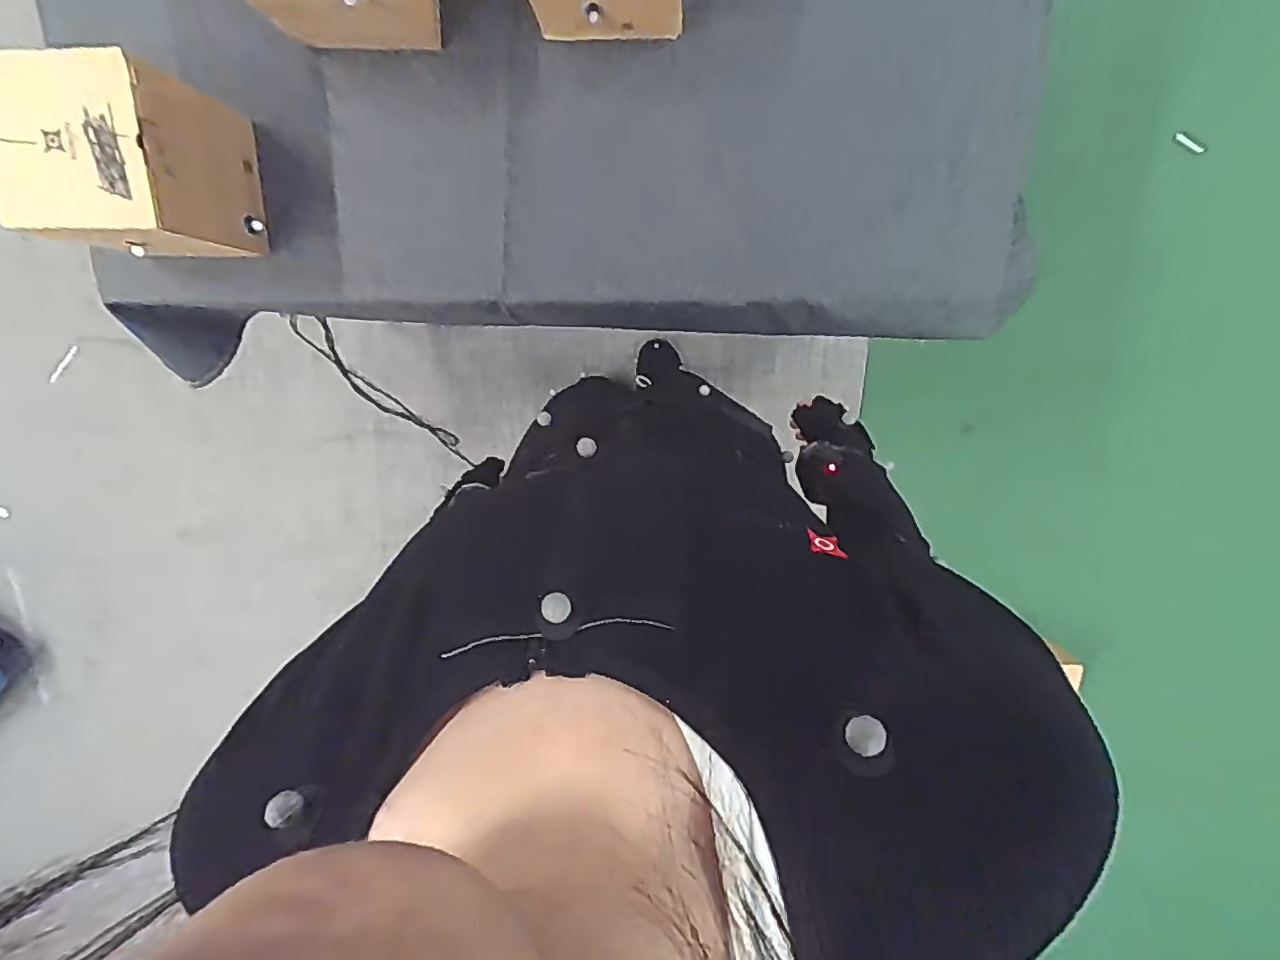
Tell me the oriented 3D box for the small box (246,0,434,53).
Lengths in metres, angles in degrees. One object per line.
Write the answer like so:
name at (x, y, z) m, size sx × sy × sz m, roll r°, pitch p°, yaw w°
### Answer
small box at (-0.327, -0.582, 0.563) m, size 0.179 × 0.176 × 0.168 m, roll 3°, pitch 104°, yaw 1°

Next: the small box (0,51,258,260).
small box at (-0.581, -0.358, 0.626) m, size 0.179 × 0.176 × 0.168 m, roll 1°, pitch 103°, yaw 2°

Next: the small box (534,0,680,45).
small box at (-0.037, -0.593, 0.553) m, size 0.168 × 0.176 × 0.179 m, roll 1°, pitch 104°, yaw 2°
